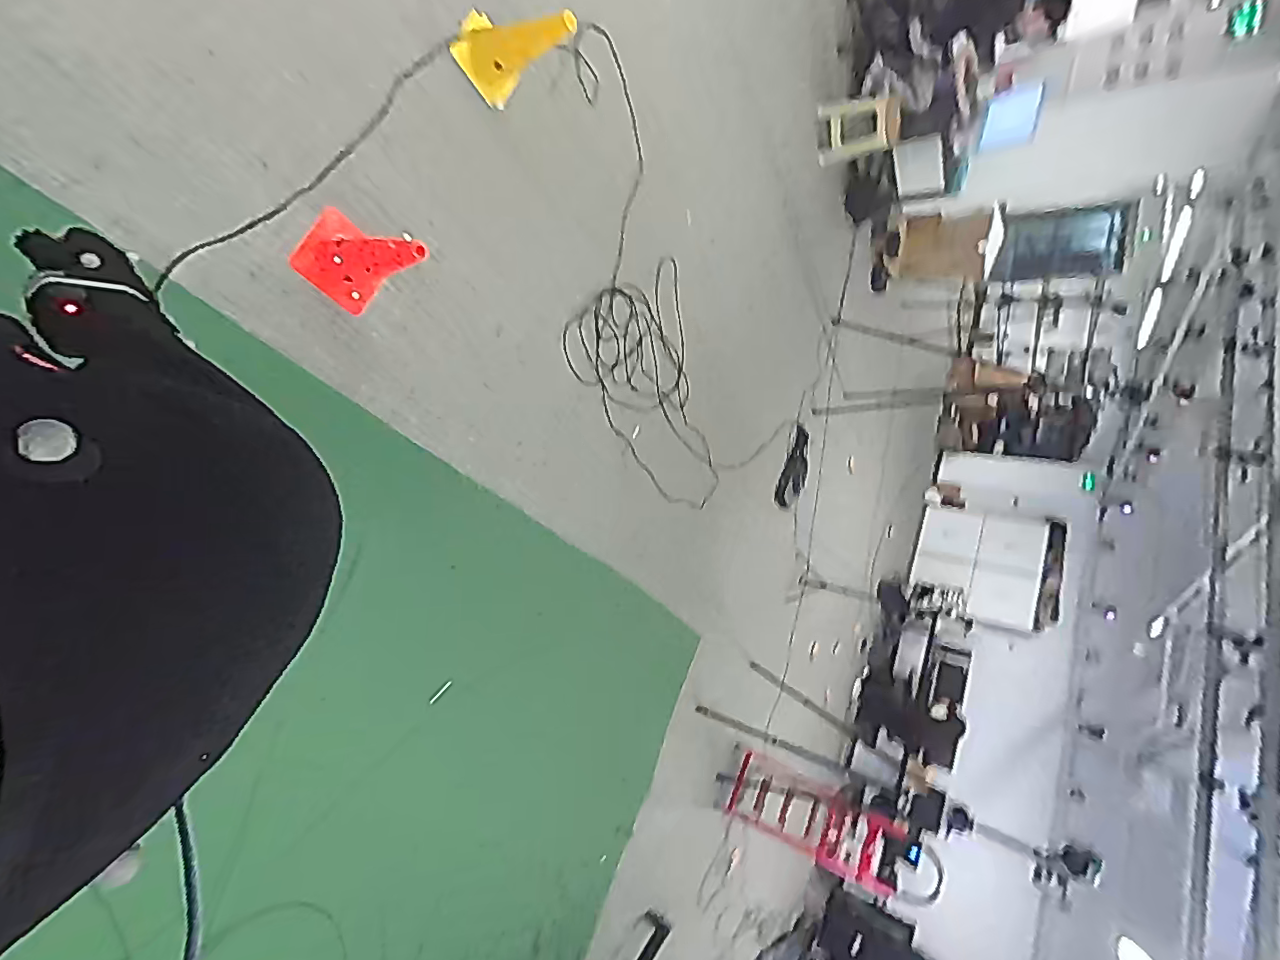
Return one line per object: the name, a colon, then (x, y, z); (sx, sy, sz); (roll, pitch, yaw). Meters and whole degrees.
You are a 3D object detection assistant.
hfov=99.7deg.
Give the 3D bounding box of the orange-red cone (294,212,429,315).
orange-red cone: (-0.632, -0.539, 1.315); (0.198, 0.360, 0.199); (45, 61, -50)
